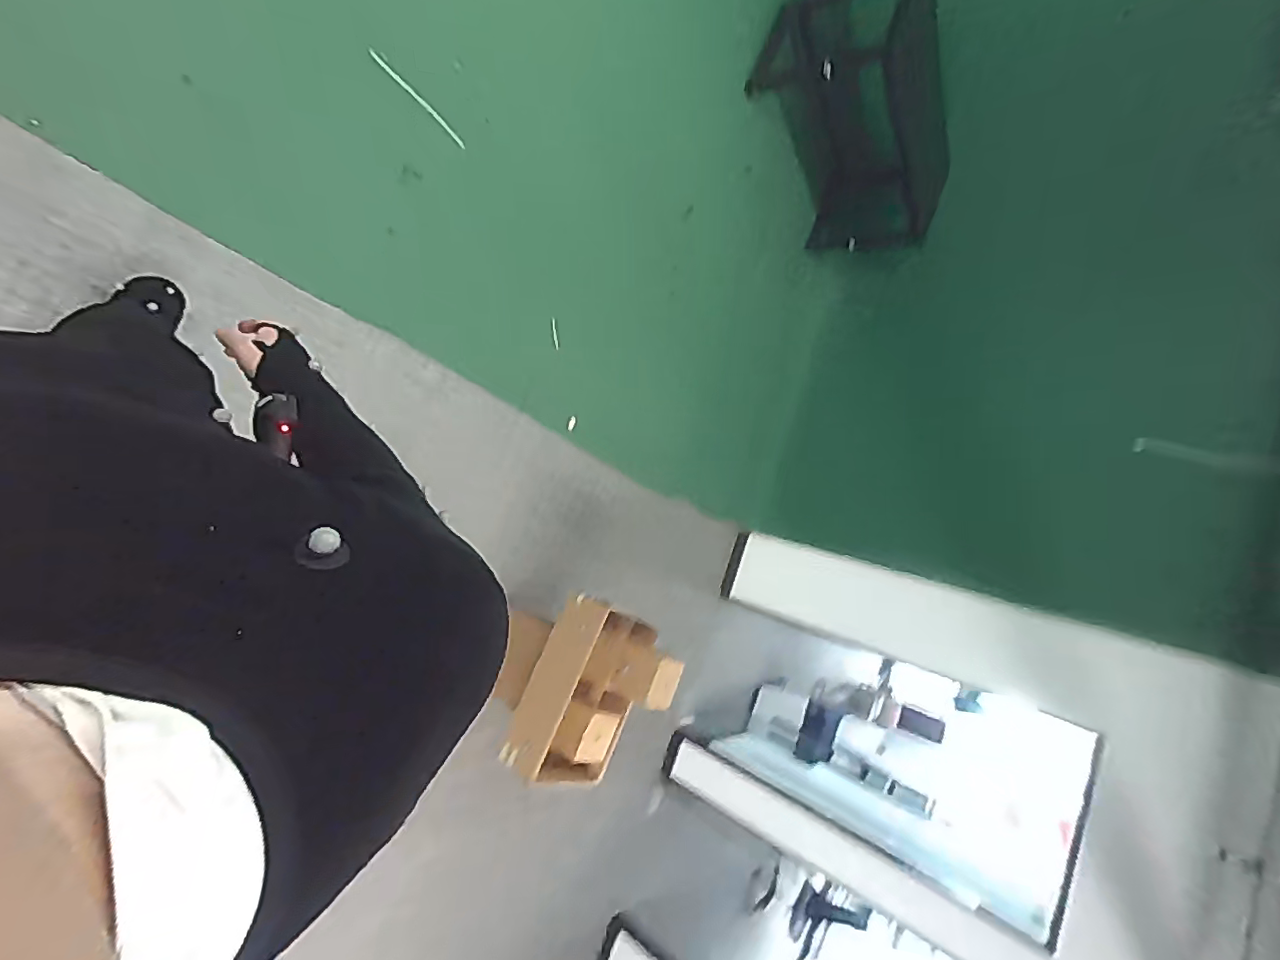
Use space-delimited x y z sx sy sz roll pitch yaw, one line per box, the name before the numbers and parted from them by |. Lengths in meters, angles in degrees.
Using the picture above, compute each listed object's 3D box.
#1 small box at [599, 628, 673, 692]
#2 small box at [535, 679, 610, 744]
small box | -0.013 0.642 1.934 0.179 0.176 0.168 35 74 -53
small box | -0.248 0.844 1.976 0.179 0.176 0.168 39 71 -51
